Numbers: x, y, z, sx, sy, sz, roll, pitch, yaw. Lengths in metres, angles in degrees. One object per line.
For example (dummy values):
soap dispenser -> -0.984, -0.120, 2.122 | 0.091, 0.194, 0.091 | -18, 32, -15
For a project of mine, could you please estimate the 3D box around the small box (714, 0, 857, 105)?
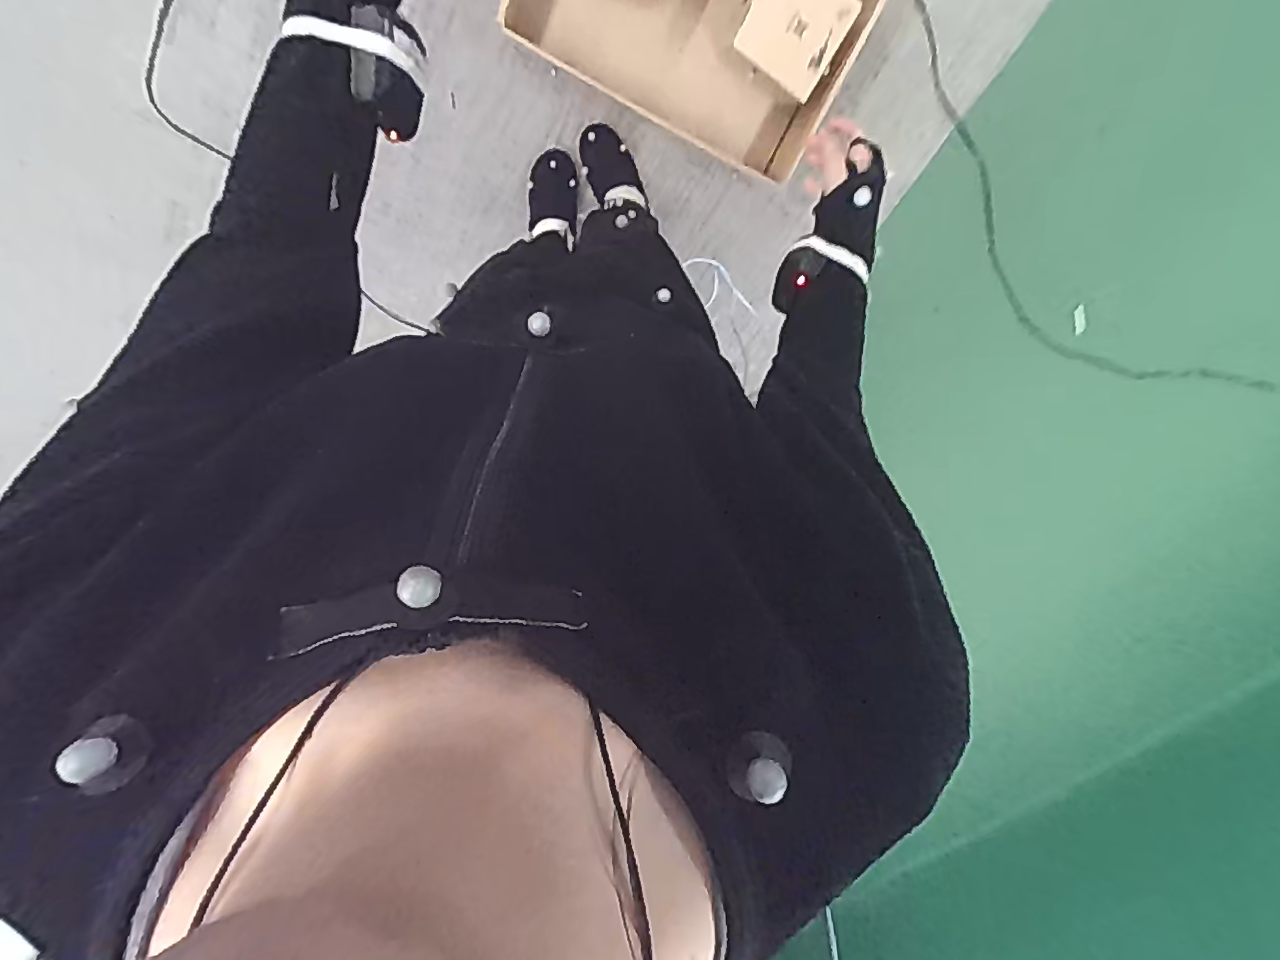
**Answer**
small box -> 0.262, -0.839, 1.019 | 0.179, 0.176, 0.168 | 24, 119, -20
